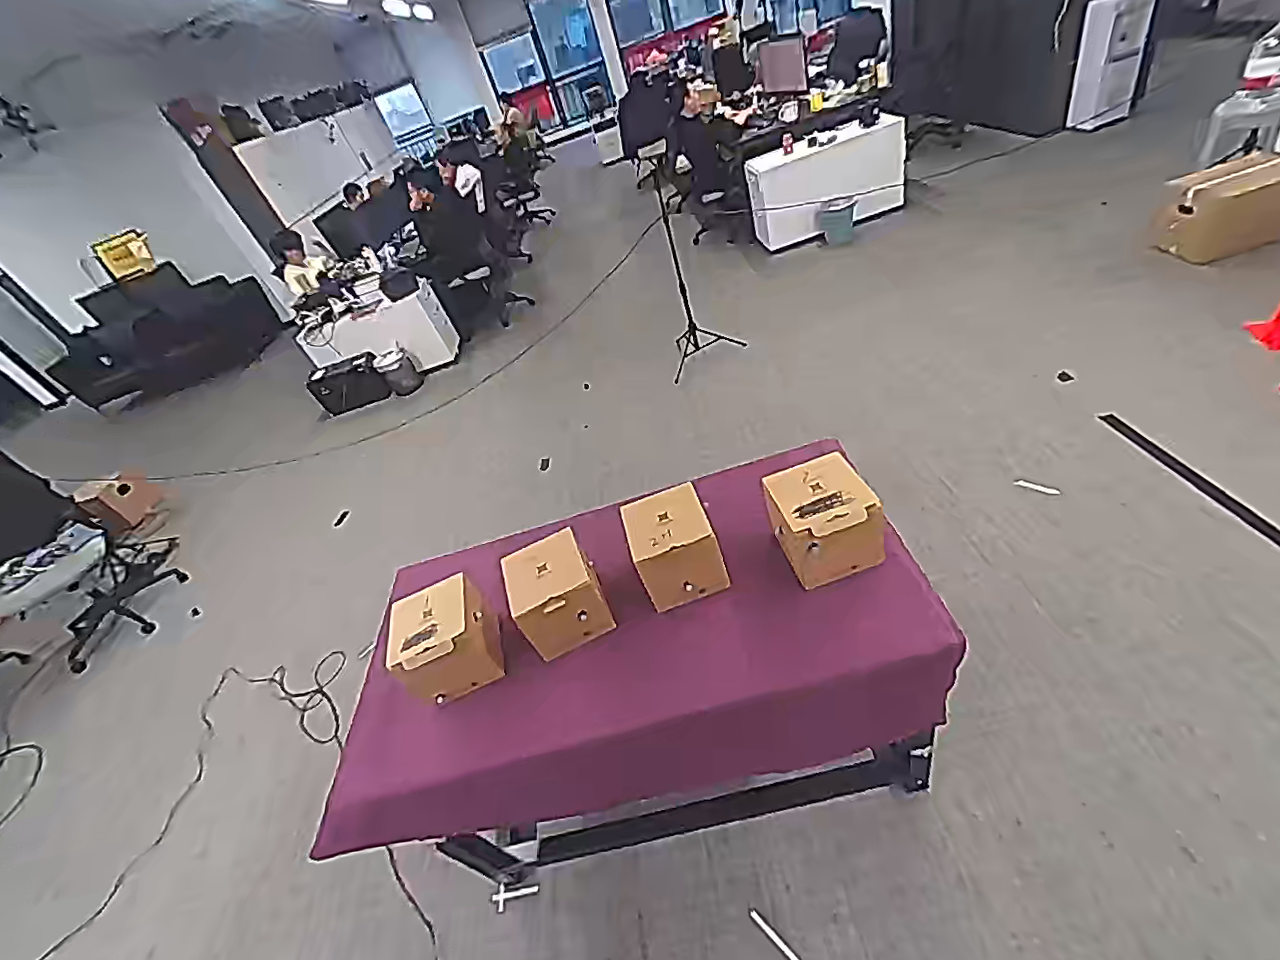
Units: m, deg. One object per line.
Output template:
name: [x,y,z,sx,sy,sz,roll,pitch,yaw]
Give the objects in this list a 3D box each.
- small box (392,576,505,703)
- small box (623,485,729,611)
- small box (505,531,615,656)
small box: [-0.401,0.346,1.150,0.168,0.176,0.179,-24,38,-3]
small box: [0.076,0.146,1.154,0.168,0.176,0.179,-21,39,3]
small box: [-0.169,0.249,1.156,0.168,0.176,0.179,-25,38,-5]
